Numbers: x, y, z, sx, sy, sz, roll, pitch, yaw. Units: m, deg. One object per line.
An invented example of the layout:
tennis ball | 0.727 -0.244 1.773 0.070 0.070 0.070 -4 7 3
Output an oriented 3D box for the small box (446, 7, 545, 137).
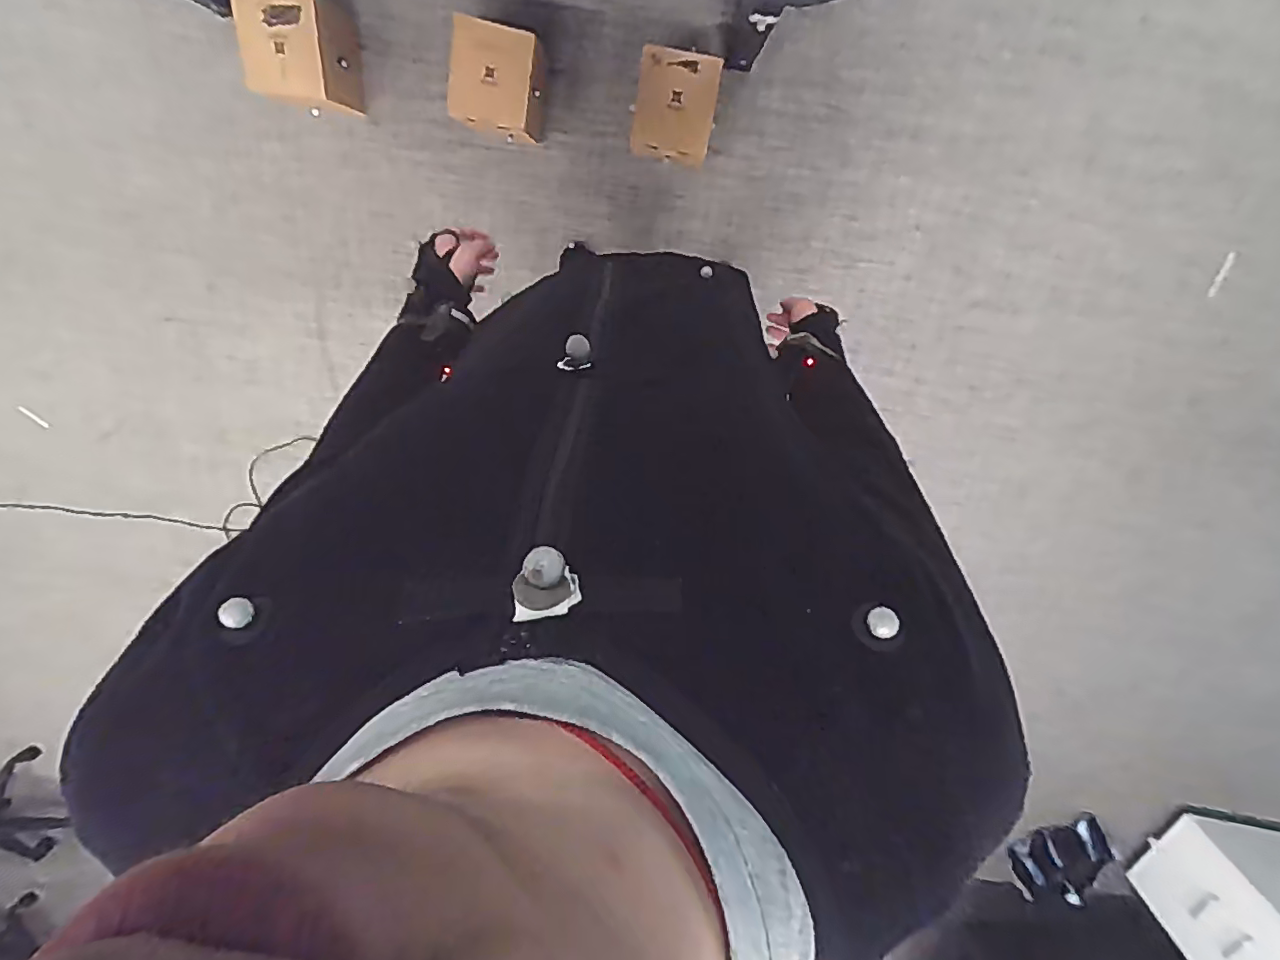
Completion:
small box | -0.304 -0.857 1.157 0.168 0.176 0.179 10 114 -5

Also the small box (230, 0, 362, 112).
small box | -0.715 -0.904 1.142 0.168 0.176 0.179 5 116 -1

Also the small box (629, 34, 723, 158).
small box | 0.073 -0.814 1.167 0.168 0.176 0.179 9 114 -3
